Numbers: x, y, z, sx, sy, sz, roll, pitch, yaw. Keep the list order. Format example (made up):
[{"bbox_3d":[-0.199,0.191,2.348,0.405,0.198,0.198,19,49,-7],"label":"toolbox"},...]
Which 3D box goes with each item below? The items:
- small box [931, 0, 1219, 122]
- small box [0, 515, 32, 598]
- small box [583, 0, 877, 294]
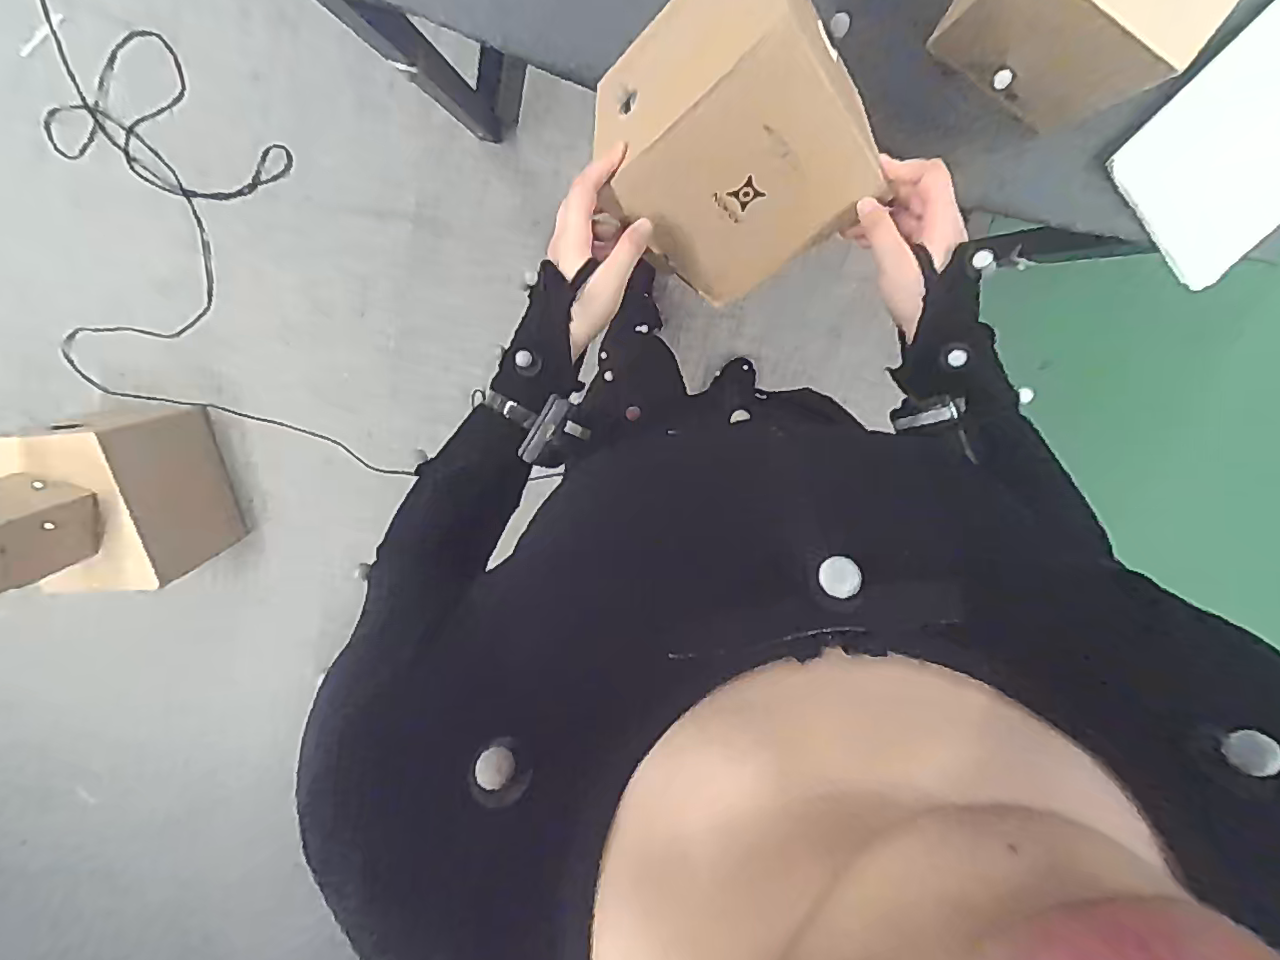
[{"bbox_3d":[0.405,-0.470,0.480,0.168,0.176,0.179,29,107,-6],"label":"small box"},{"bbox_3d":[-1.360,0.157,1.049,0.179,0.176,0.168,17,109,-1],"label":"small box"},{"bbox_3d":[0.071,-0.307,0.463,0.179,0.176,0.168,-26,144,38],"label":"small box"}]
